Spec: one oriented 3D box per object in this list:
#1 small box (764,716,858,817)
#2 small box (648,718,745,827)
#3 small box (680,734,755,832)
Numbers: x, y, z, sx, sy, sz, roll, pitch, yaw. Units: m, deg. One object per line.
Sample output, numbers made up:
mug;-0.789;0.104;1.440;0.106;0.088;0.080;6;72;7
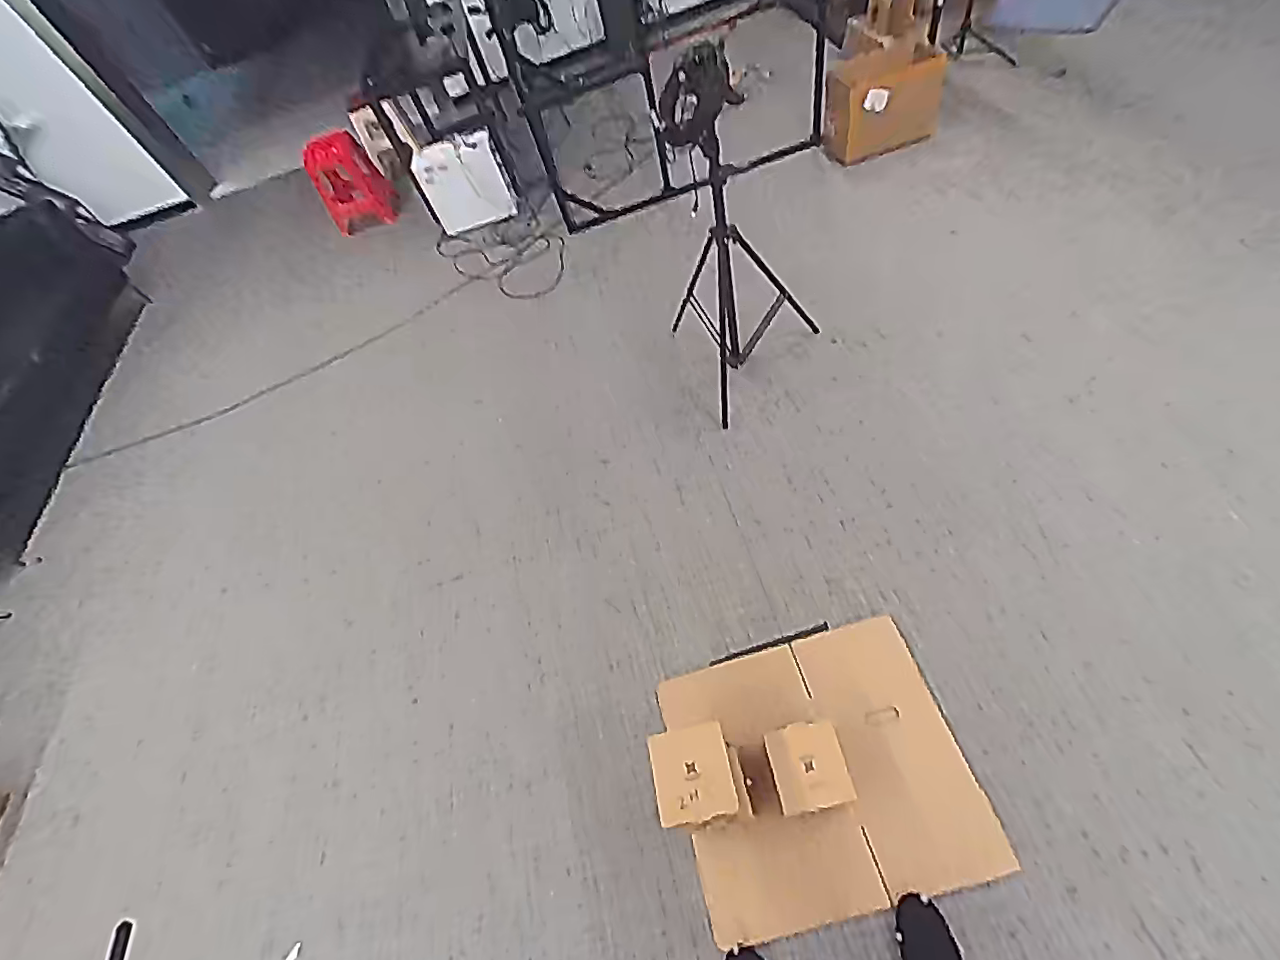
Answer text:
small box;0.398;0.685;1.287;0.168;0.176;0.179;-15;55;5
small box;0.125;0.646;1.186;0.168;0.176;0.179;-16;55;6
small box;0.174;0.737;1.315;0.168;0.176;0.179;-17;55;5
